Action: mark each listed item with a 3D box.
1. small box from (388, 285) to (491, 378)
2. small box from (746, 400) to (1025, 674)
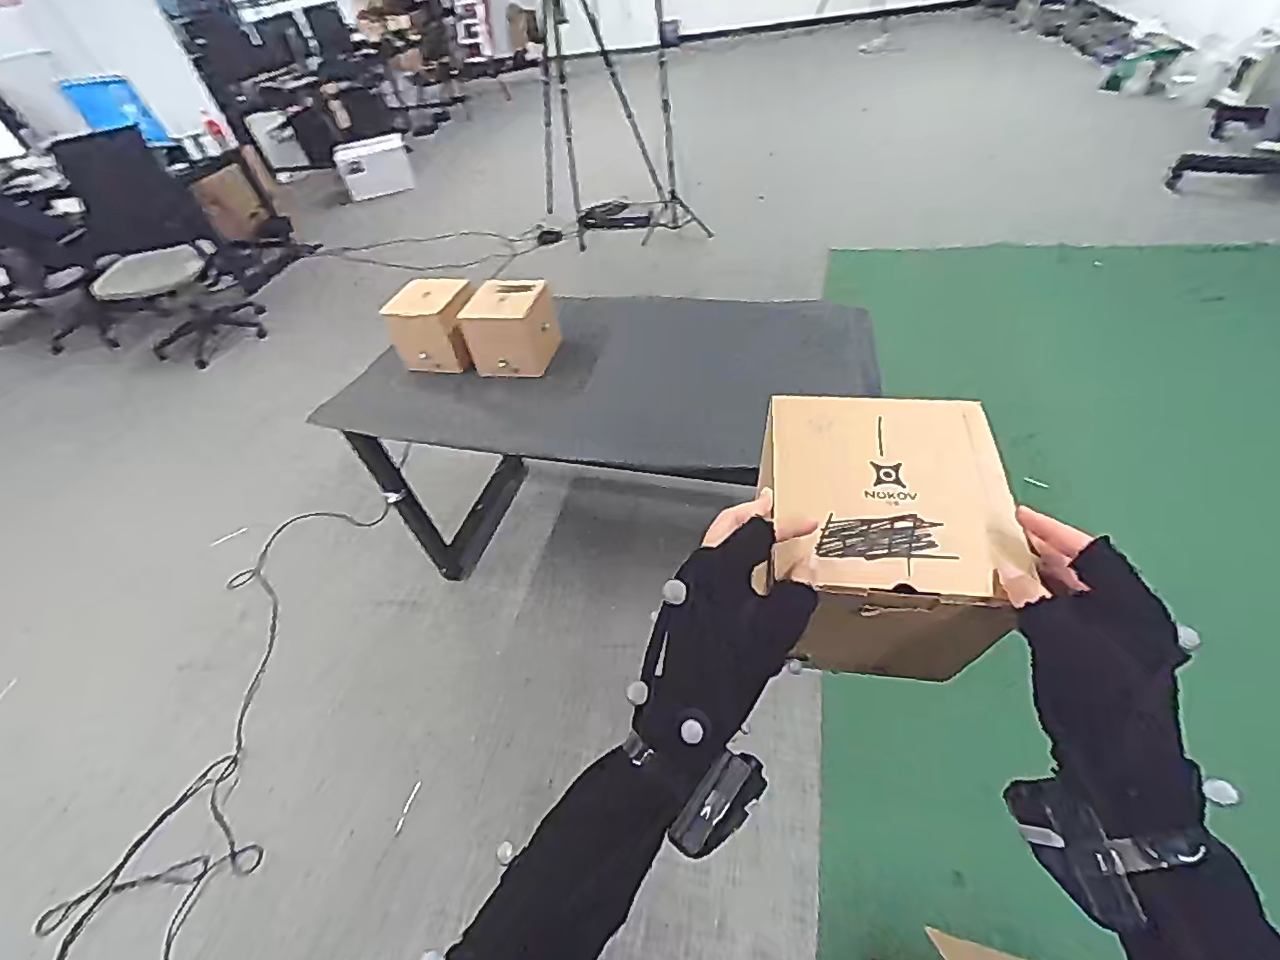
[{"bbox_3d":[-0.506,-0.386,1.400,0.168,0.176,0.179,6,48,15],"label":"small box"},{"bbox_3d":[0.181,0.052,0.462,0.168,0.176,0.179,2,53,8],"label":"small box"}]
